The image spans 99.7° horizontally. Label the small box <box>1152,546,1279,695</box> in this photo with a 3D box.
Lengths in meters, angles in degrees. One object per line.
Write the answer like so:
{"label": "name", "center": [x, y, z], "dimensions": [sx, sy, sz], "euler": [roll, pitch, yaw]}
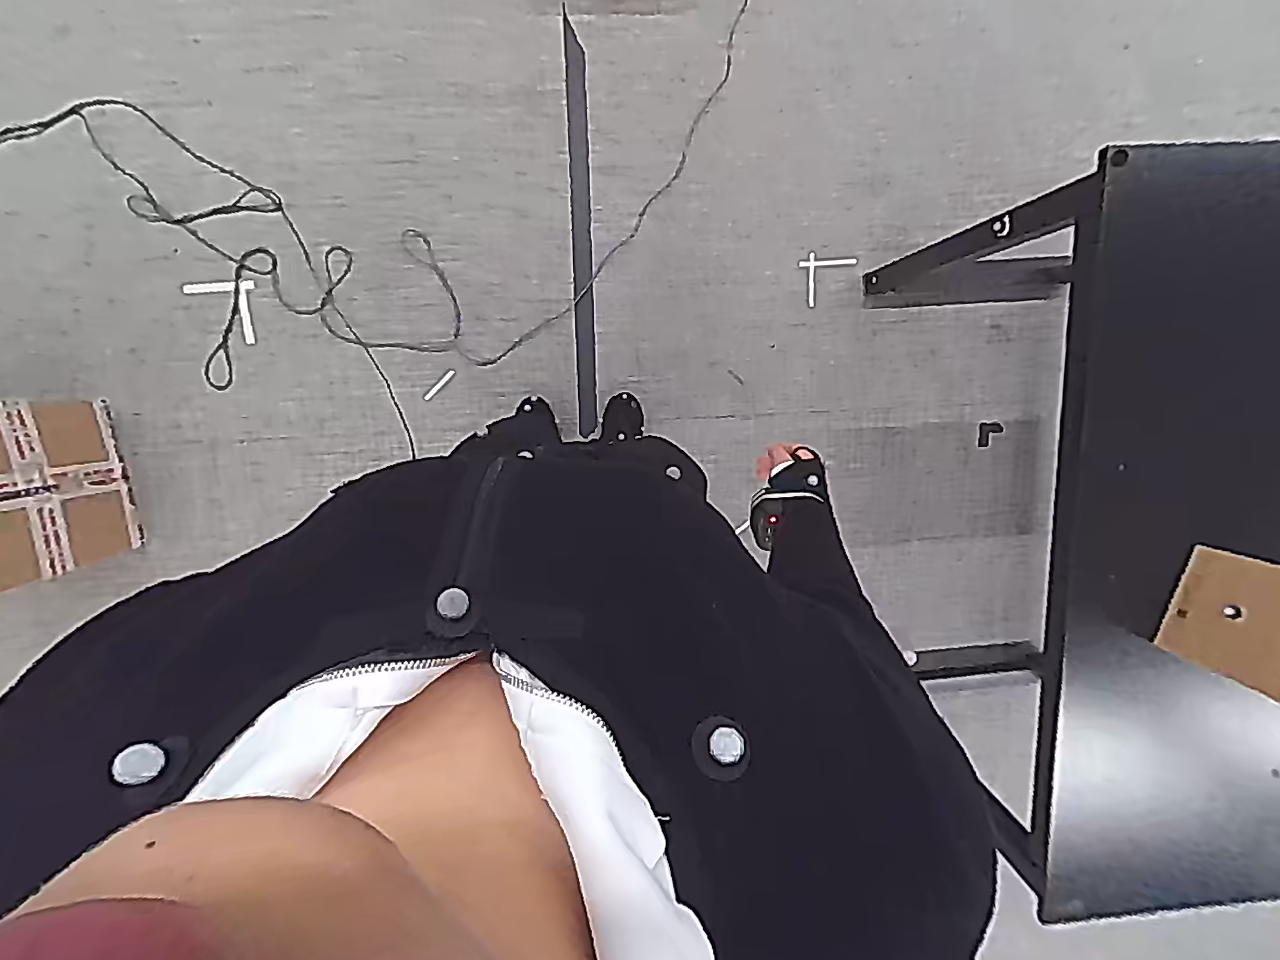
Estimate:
{"label": "small box", "center": [0.897, 0.203, 0.762], "dimensions": [0.179, 0.176, 0.168], "euler": [15, 98, -6]}
